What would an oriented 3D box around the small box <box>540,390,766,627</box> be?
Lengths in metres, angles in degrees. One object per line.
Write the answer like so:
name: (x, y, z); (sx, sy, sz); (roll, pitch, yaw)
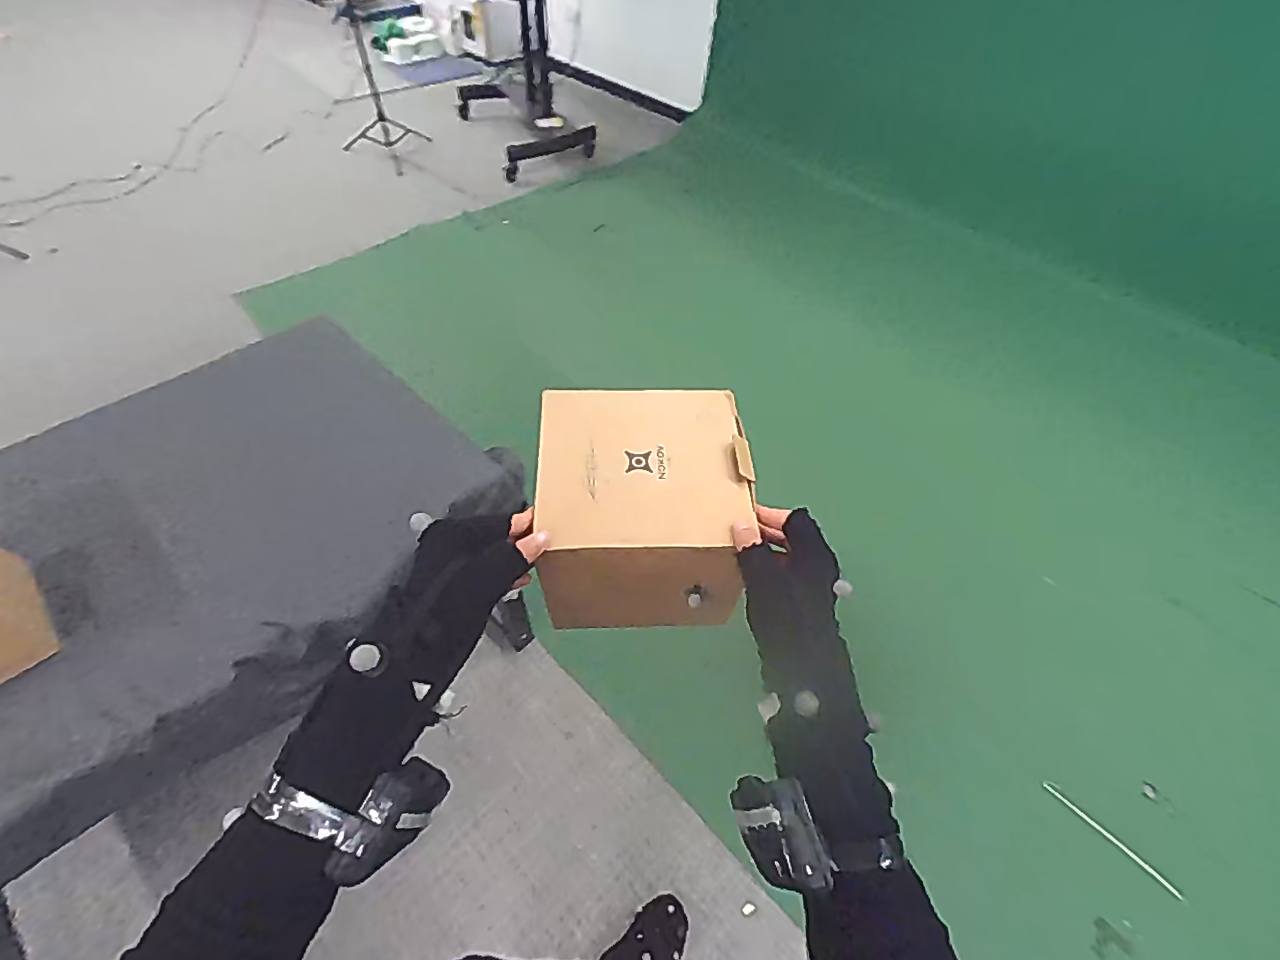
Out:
small box: (0.006, 0.032, 0.521); (0.179, 0.176, 0.168); (-3, 54, -2)
